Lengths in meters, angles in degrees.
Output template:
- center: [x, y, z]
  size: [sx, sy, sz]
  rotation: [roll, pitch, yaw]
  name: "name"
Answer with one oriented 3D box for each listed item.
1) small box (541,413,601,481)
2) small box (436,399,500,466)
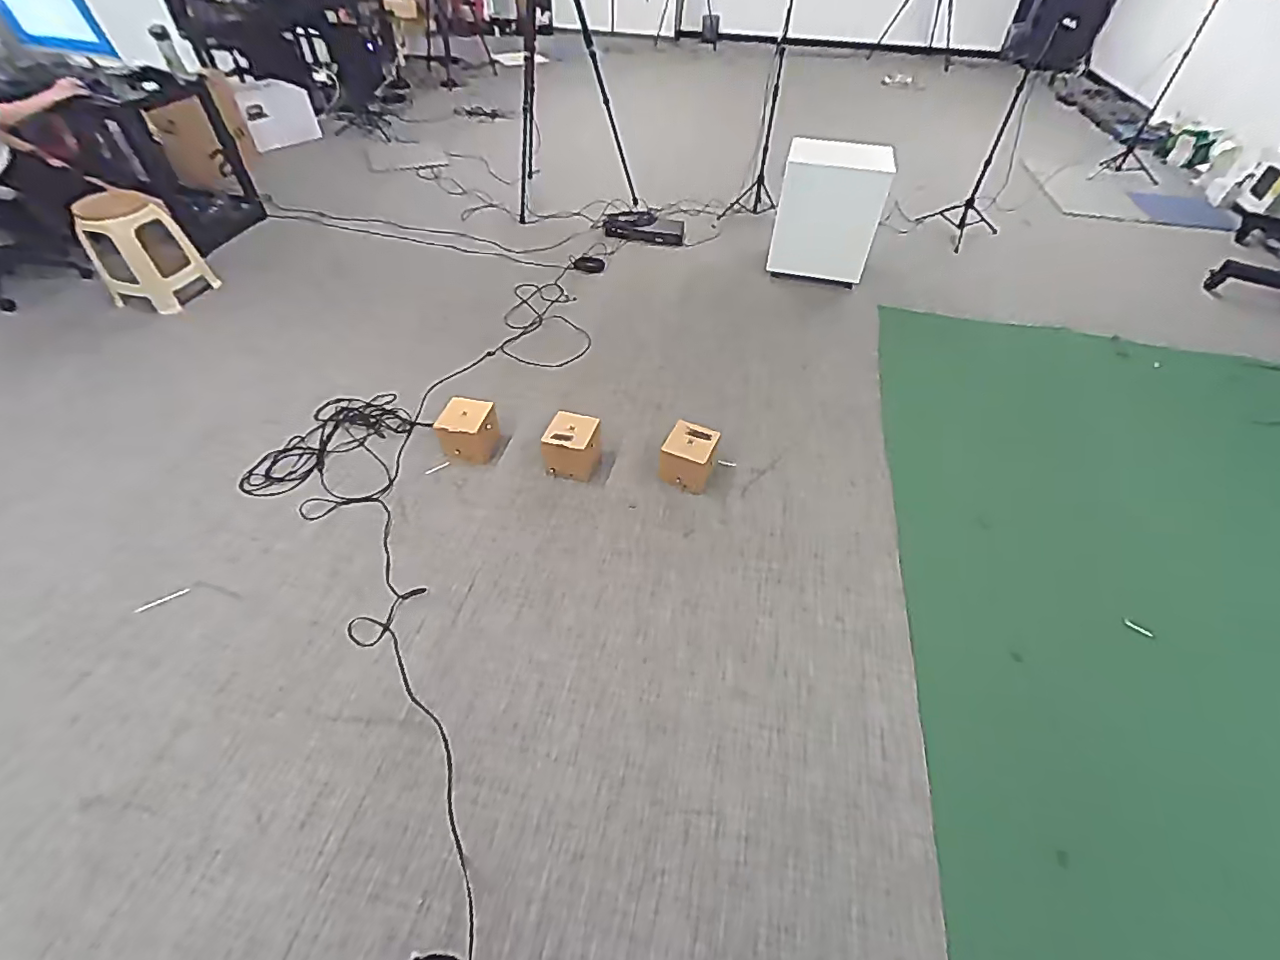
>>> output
- center: [-0.248, -0.120, 2.003]
  size: [0.168, 0.176, 0.179]
  rotation: [13, 48, 10]
  name: "small box"
- center: [-0.644, -0.180, 2.051]
  size: [0.168, 0.176, 0.179]
  rotation: [9, 49, 7]
  name: "small box"
